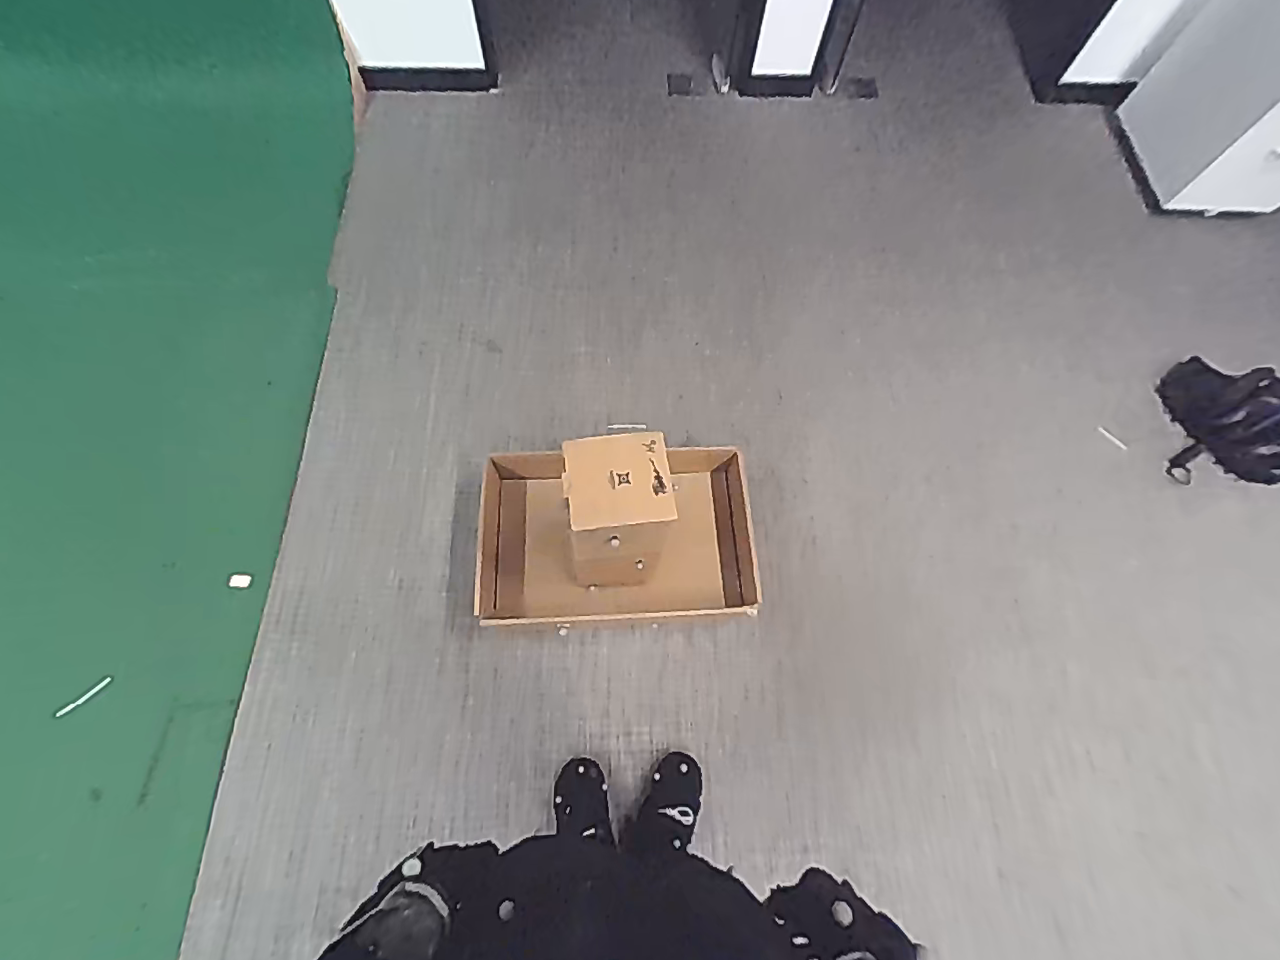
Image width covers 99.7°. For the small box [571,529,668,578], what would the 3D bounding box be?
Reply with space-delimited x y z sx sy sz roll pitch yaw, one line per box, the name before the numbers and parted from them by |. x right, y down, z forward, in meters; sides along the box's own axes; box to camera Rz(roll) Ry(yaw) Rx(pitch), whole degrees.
small box | -0.051 0.093 1.105 0.179 0.176 0.168 -8 67 -7

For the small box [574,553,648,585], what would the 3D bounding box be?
small box | -0.068 0.147 1.275 0.168 0.176 0.179 -2 67 -4

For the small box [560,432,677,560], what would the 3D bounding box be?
small box | -0.042 0.034 0.973 0.179 0.176 0.168 -8 65 -8
